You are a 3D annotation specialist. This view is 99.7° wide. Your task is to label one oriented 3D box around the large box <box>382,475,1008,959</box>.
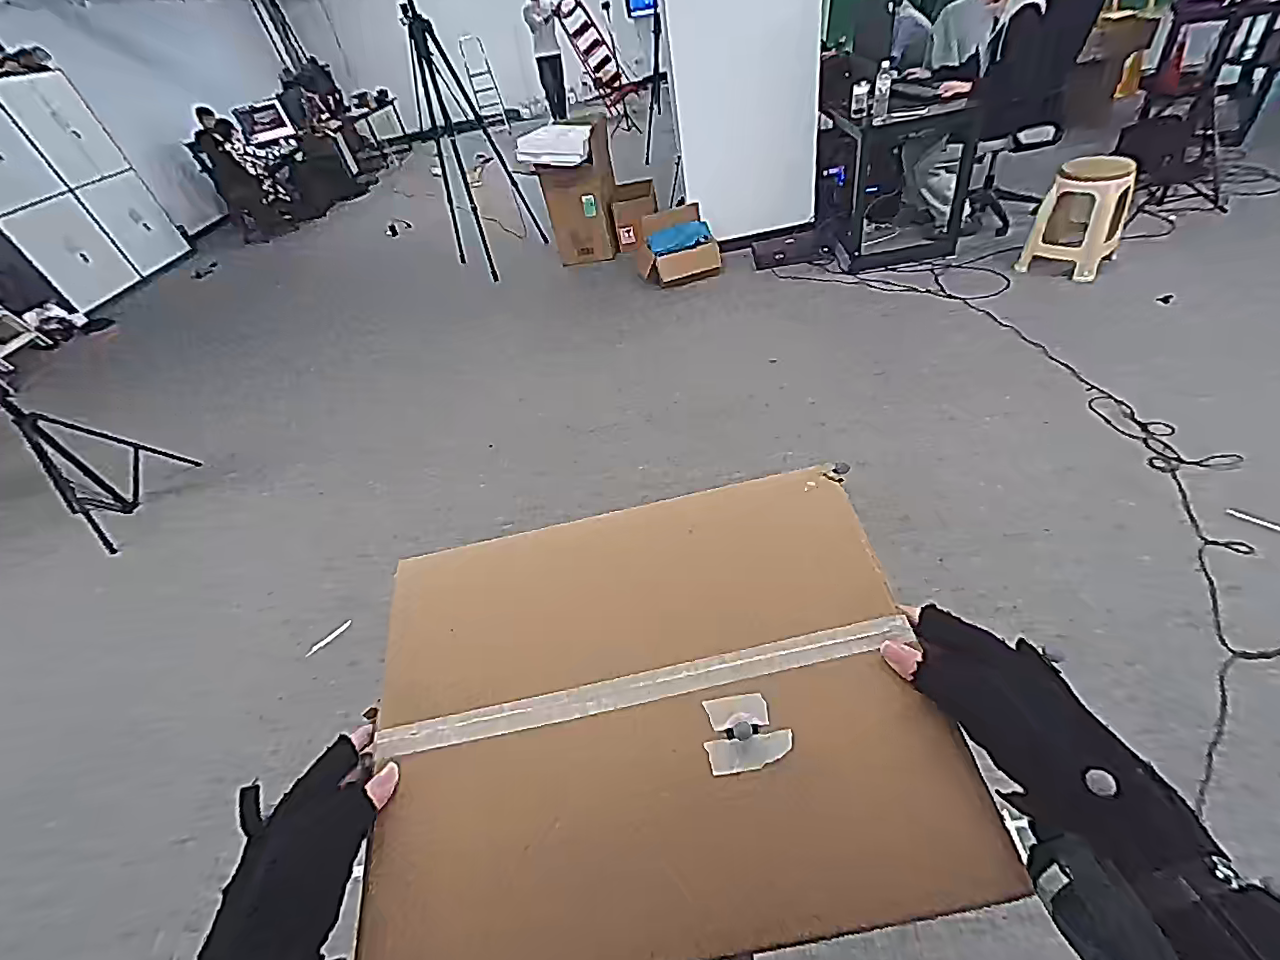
[{"bbox_3d":[0.026,0.245,0.534,0.408,0.320,0.320,-13,55,1],"label":"large box"}]
